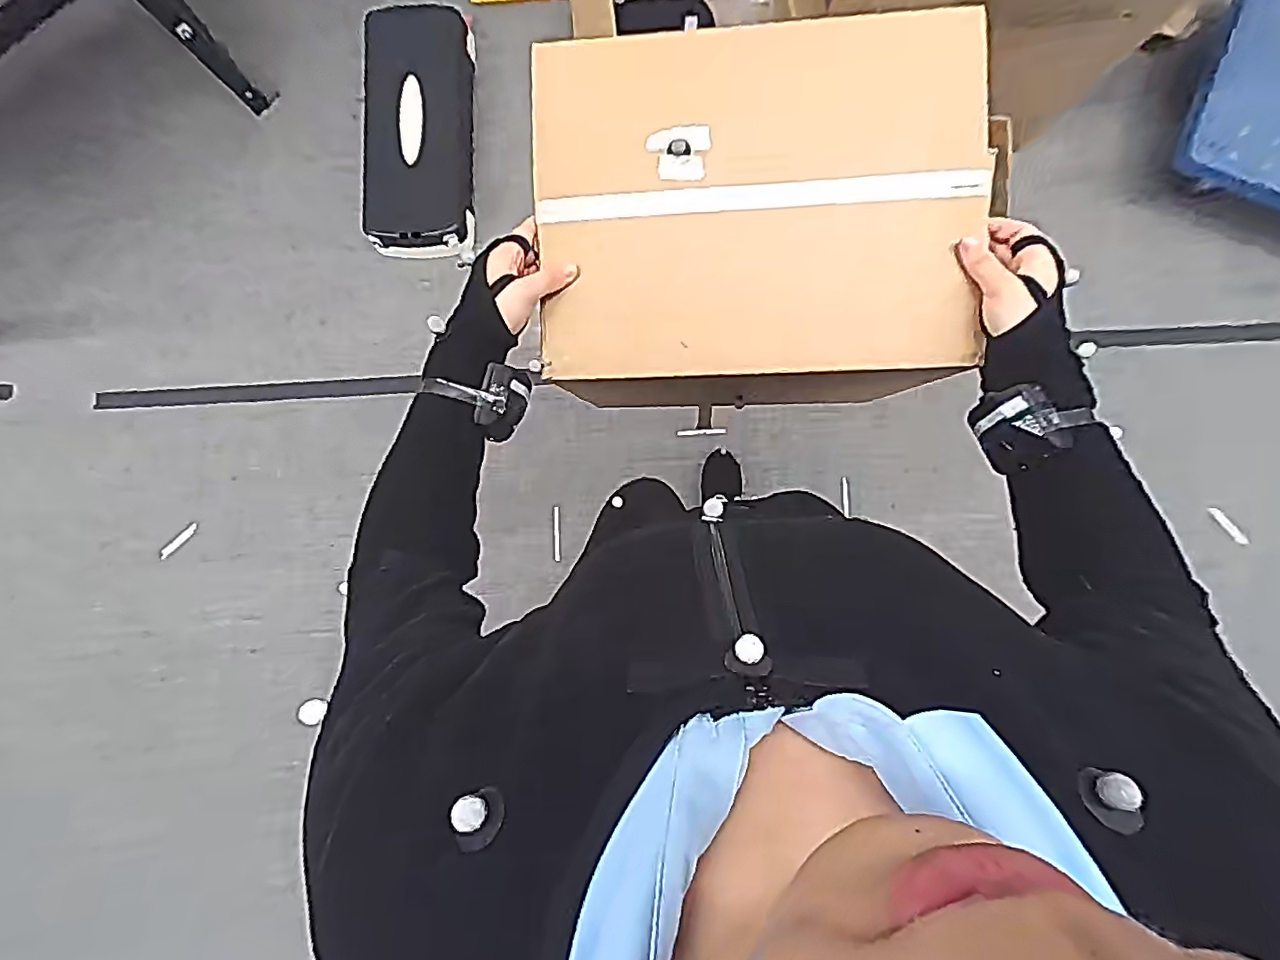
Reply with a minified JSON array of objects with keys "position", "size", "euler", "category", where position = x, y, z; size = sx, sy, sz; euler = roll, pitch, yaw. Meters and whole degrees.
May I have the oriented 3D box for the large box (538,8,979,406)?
[{"position":[0.121,-0.264,0.653],"size":[0.408,0.320,0.320],"euler":[-2,91,6],"category":"large box"}]
